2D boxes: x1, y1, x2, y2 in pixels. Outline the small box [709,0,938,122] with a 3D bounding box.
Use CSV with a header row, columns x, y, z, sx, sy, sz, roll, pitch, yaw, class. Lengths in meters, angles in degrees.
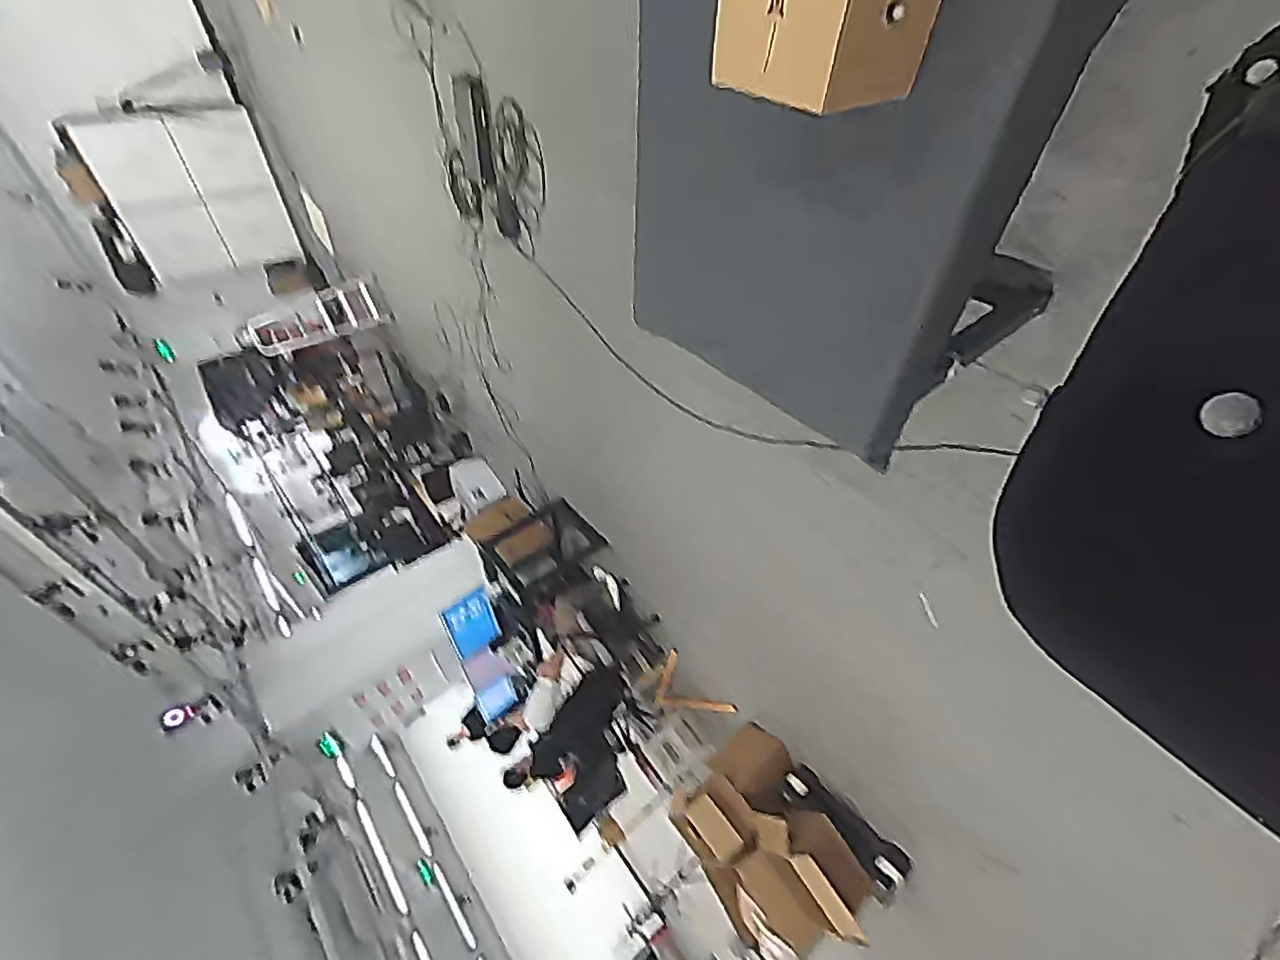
x,y,z,sx,sy,sz,roll,pitch,yaw,class
0.198,-0.508,0.570,0.168,0.176,0.179,42,148,31,small box
